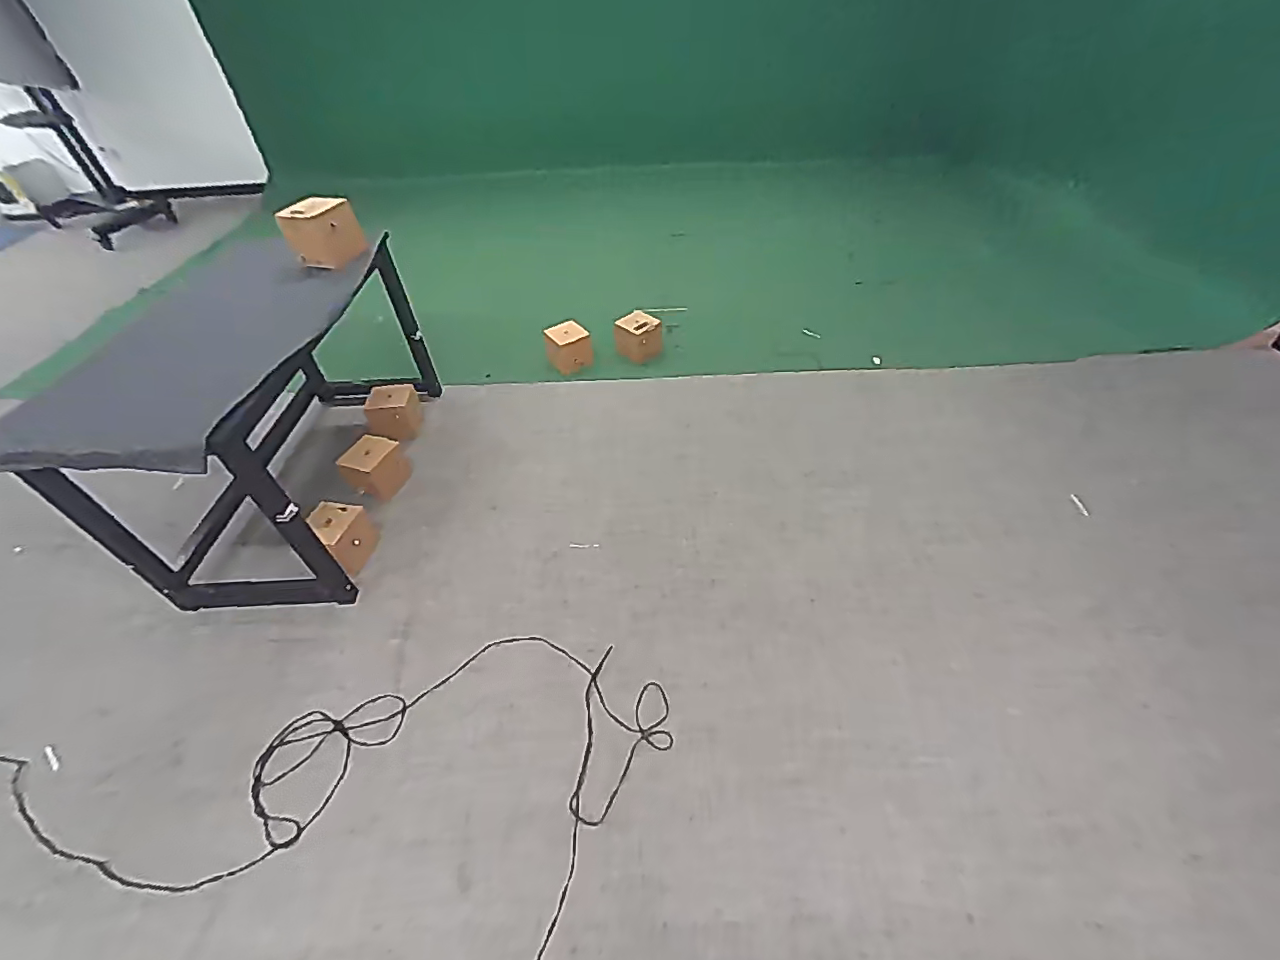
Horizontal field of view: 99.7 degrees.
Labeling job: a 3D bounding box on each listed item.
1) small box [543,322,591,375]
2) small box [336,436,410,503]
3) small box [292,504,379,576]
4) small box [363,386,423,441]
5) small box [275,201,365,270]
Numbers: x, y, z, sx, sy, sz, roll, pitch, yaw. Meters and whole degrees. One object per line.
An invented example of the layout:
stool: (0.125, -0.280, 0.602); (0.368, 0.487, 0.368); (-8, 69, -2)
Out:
small box: (-0.357, -0.644, 2.654); (0.168, 0.176, 0.179); (-29, 51, -23)
small box: (-1.024, -0.039, 2.099); (0.168, 0.176, 0.179); (12, 49, 16)
small box: (-1.034, 0.208, 1.857); (0.168, 0.176, 0.179); (7, 47, 10)
small box: (-1.063, -0.288, 2.343); (0.179, 0.176, 0.168); (-6, 45, -2)
small box: (-1.091, -0.841, 1.862); (0.168, 0.176, 0.179); (11, 49, 17)
